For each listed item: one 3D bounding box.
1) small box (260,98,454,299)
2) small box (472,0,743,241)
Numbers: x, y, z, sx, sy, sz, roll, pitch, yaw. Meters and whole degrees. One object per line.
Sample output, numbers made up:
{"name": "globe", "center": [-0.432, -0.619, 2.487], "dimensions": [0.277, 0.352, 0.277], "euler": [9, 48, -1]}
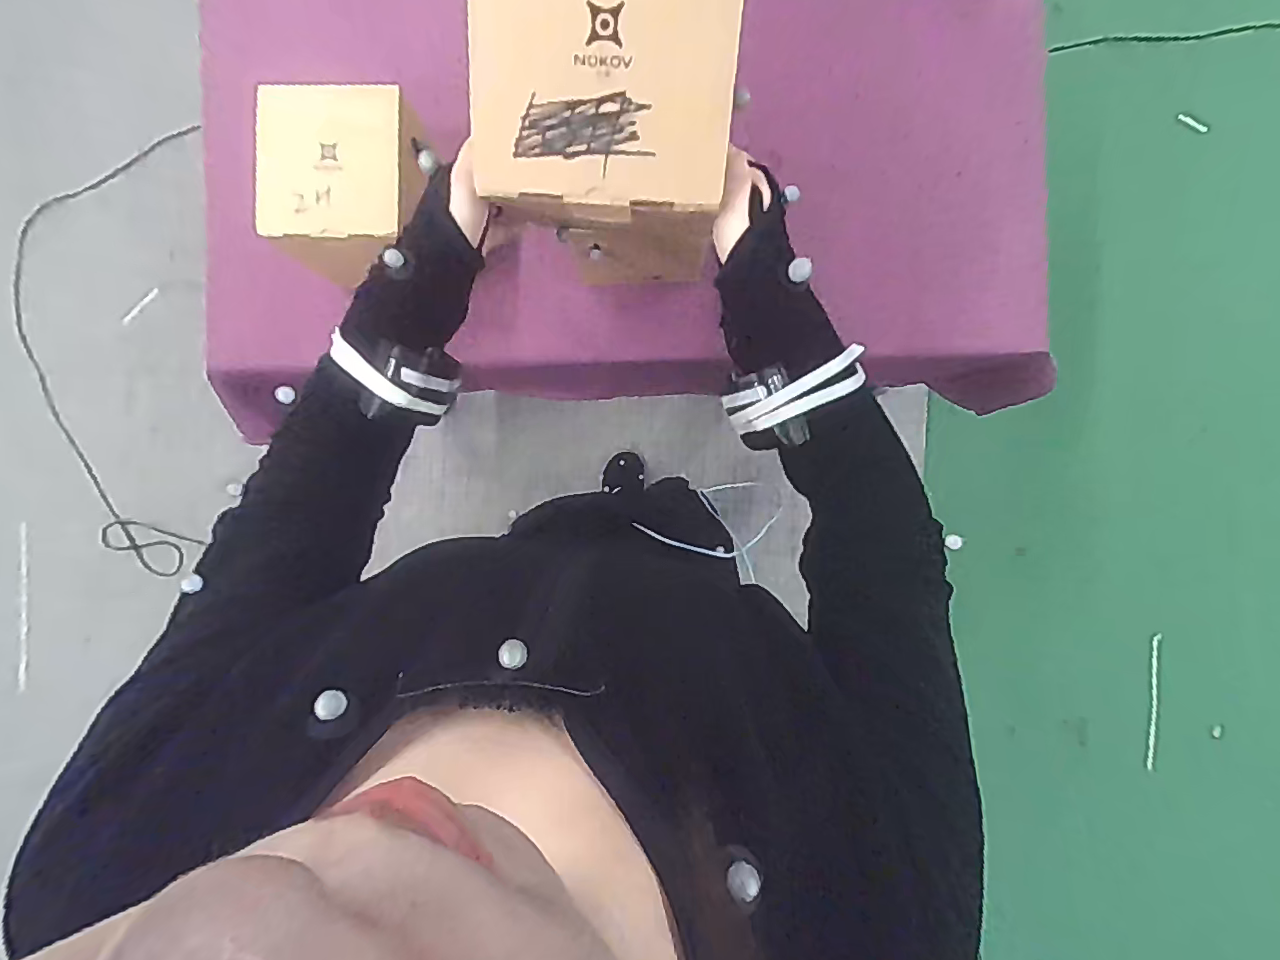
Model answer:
{"name": "small box", "center": [-0.351, -0.351, 0.701], "dimensions": [0.168, 0.176, 0.179], "euler": [0, 89, 1]}
{"name": "small box", "center": [-0.016, -0.286, 0.407], "dimensions": [0.168, 0.176, 0.179], "euler": [5, 106, 2]}
